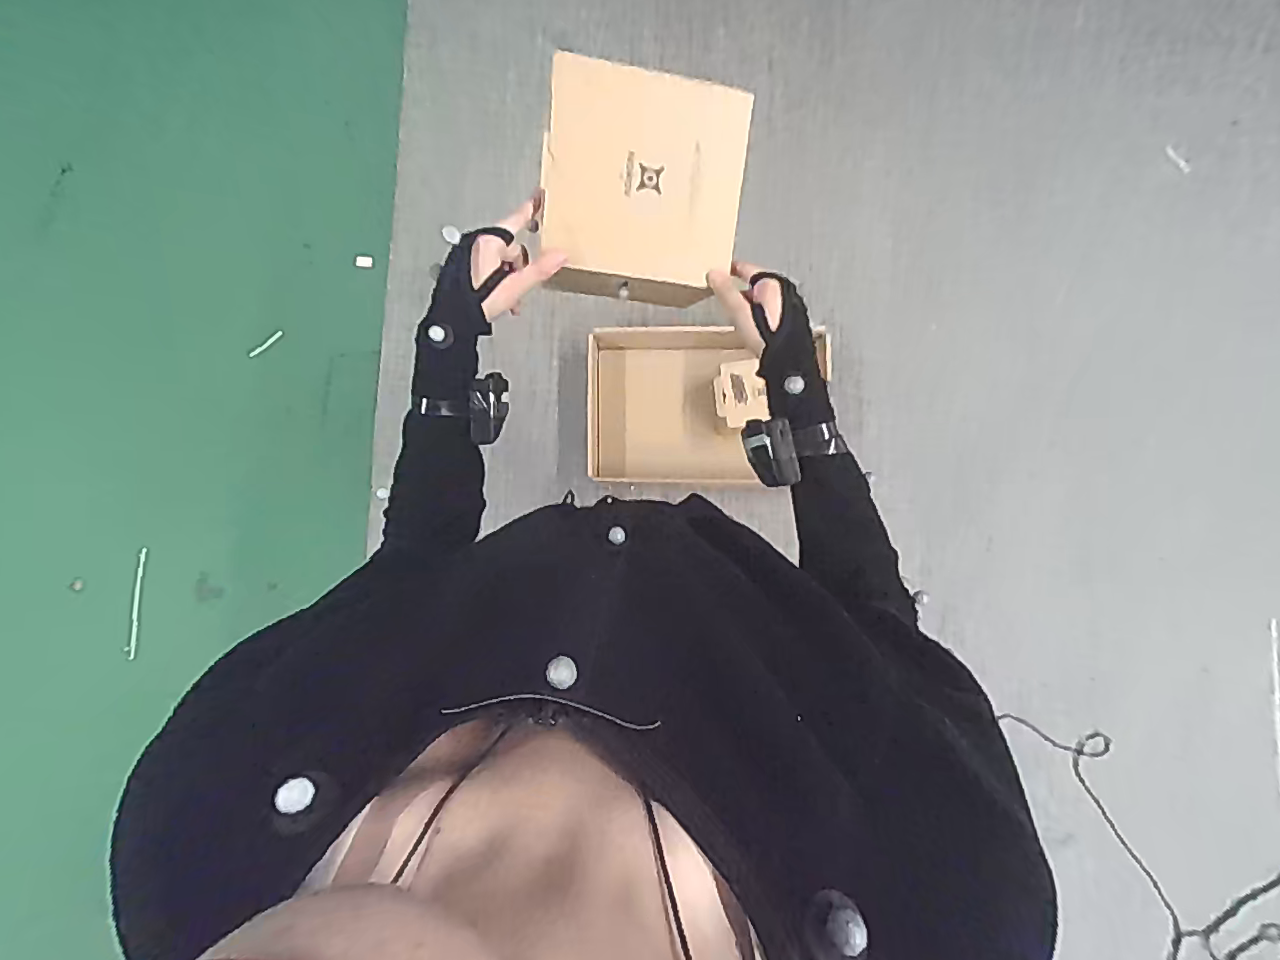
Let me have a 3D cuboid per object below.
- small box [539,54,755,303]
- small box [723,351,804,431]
[{"bbox_3d":[-0.004,-0.279,0.545,0.179,0.176,0.168,4,102,-9],"label":"small box"},{"bbox_3d":[0.313,-0.226,1.408,0.179,0.176,0.168,-6,88,2],"label":"small box"}]
